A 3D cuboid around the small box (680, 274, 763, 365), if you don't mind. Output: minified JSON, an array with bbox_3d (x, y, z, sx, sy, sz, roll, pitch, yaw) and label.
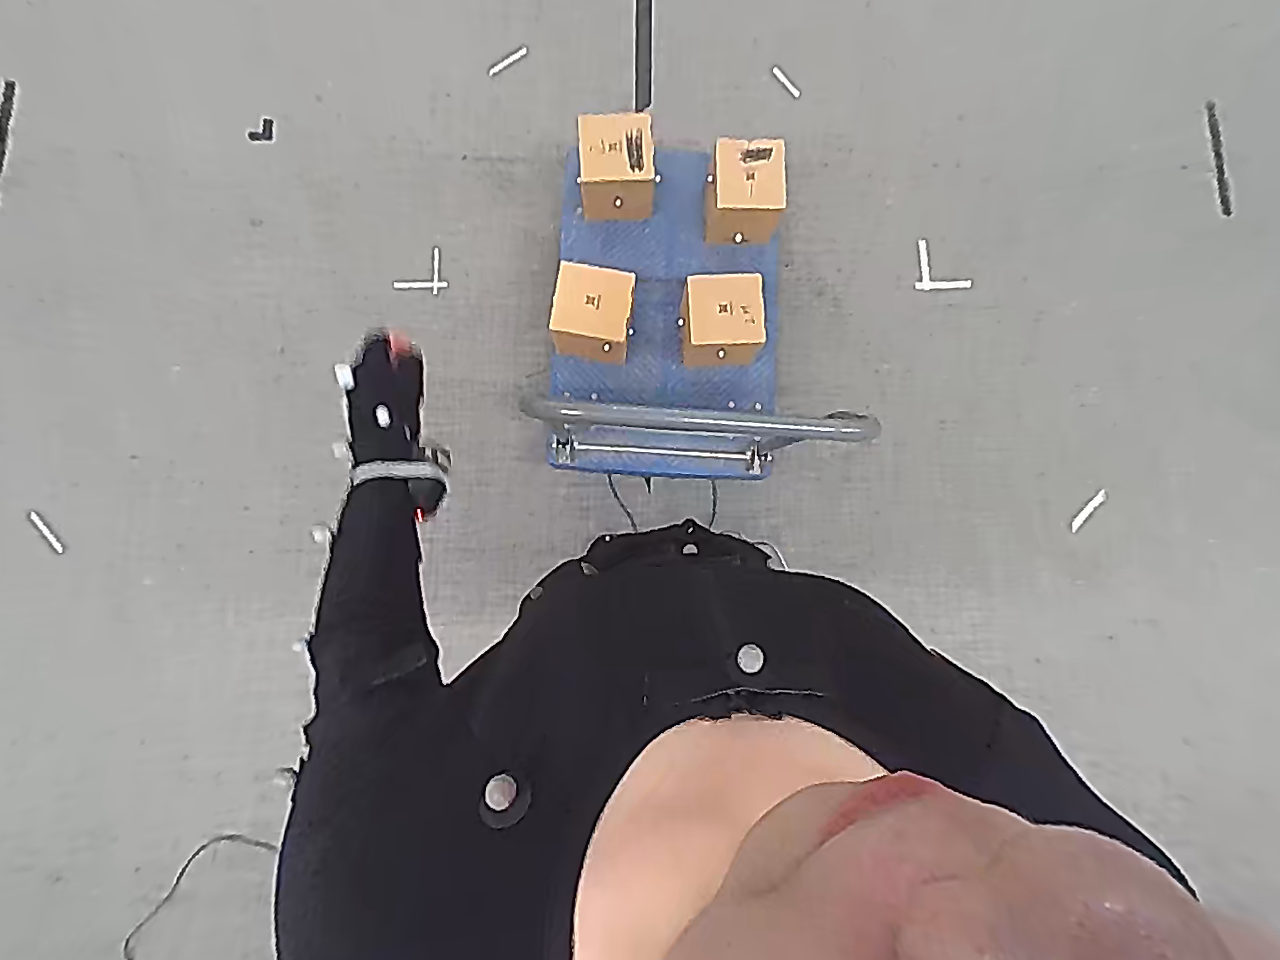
[{"bbox_3d":[0.191,-0.386,1.324,0.179,0.176,0.168,-2,85,-2],"label":"small box"}]

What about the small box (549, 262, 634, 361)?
[{"bbox_3d":[-0.115,-0.401,1.314,0.179,0.176,0.168,9,83,-3],"label":"small box"}]

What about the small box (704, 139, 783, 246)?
[{"bbox_3d":[0.254,-0.717,1.359,0.168,0.176,0.179,0,85,-2],"label":"small box"}]
